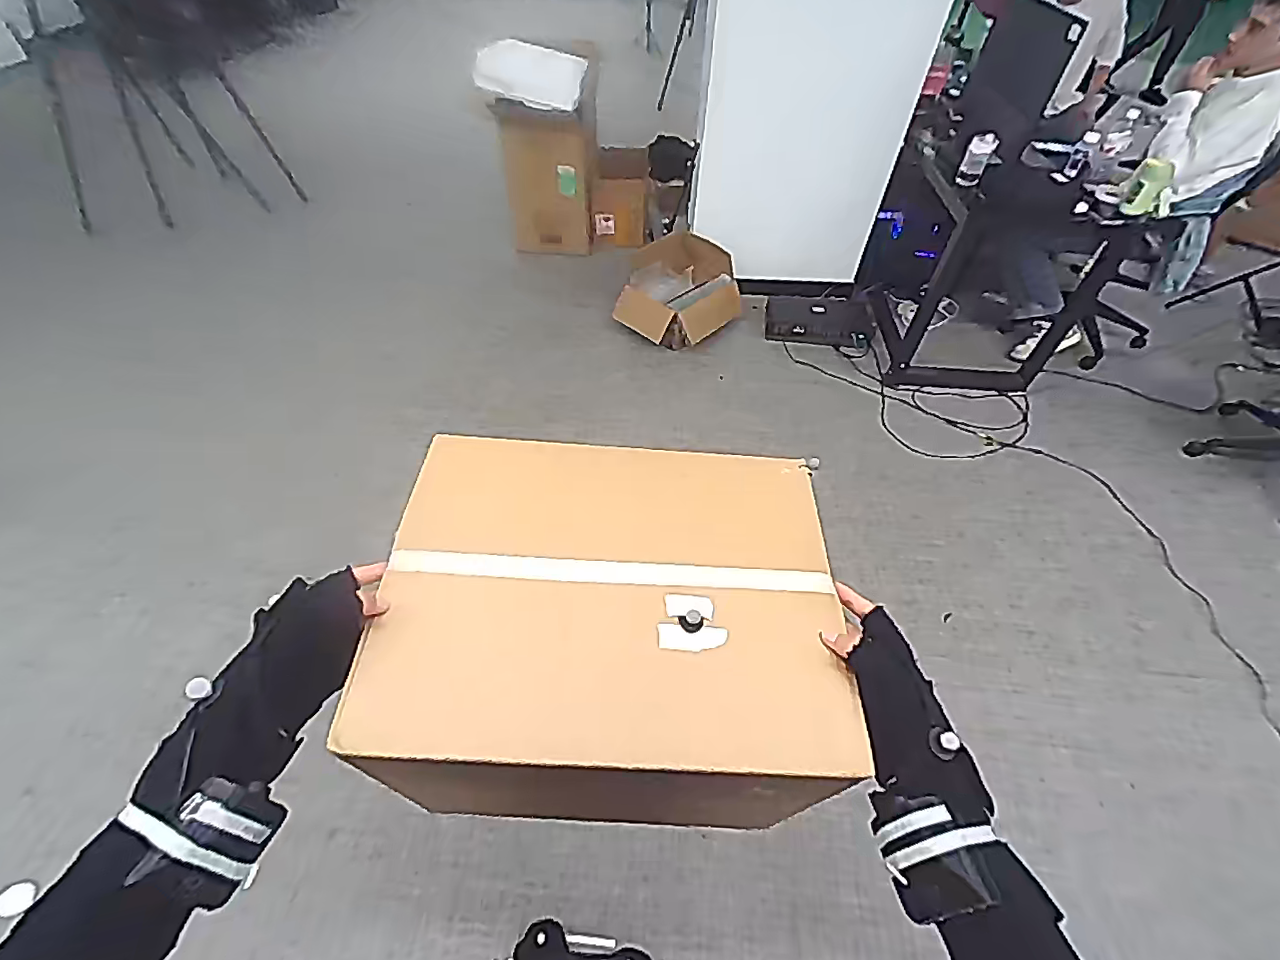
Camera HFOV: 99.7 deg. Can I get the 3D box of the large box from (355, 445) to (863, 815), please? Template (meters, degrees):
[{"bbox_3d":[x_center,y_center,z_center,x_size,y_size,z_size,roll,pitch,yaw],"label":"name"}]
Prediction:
[{"bbox_3d":[-0.030,0.183,0.623,0.408,0.320,0.320,4,52,-3],"label":"large box"}]
